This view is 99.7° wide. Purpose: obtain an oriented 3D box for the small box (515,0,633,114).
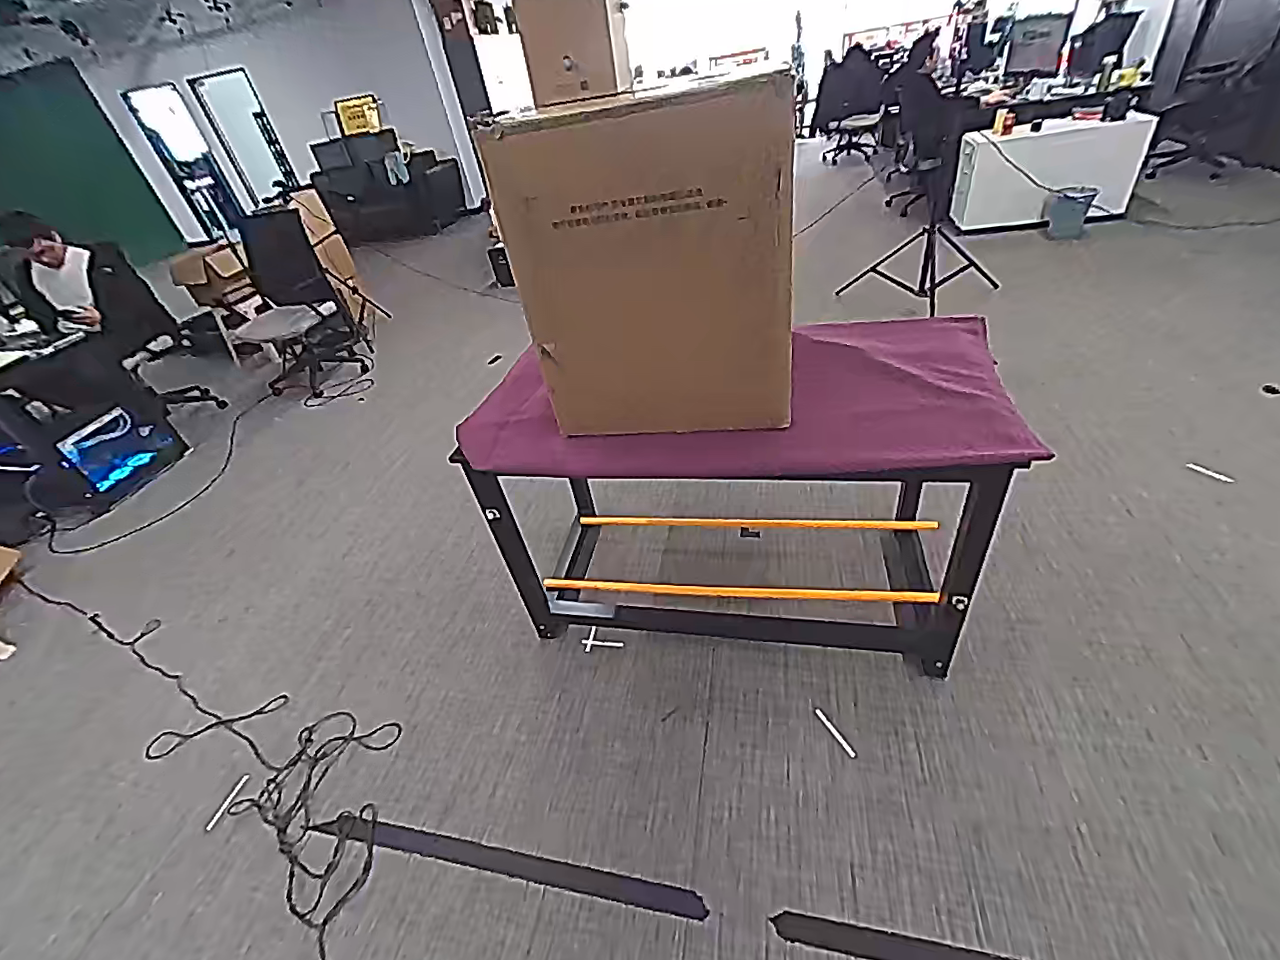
[{"bbox_3d":[-0.114,-0.814,1.032,0.168,0.176,0.179,-1,39,13],"label":"small box"}]
